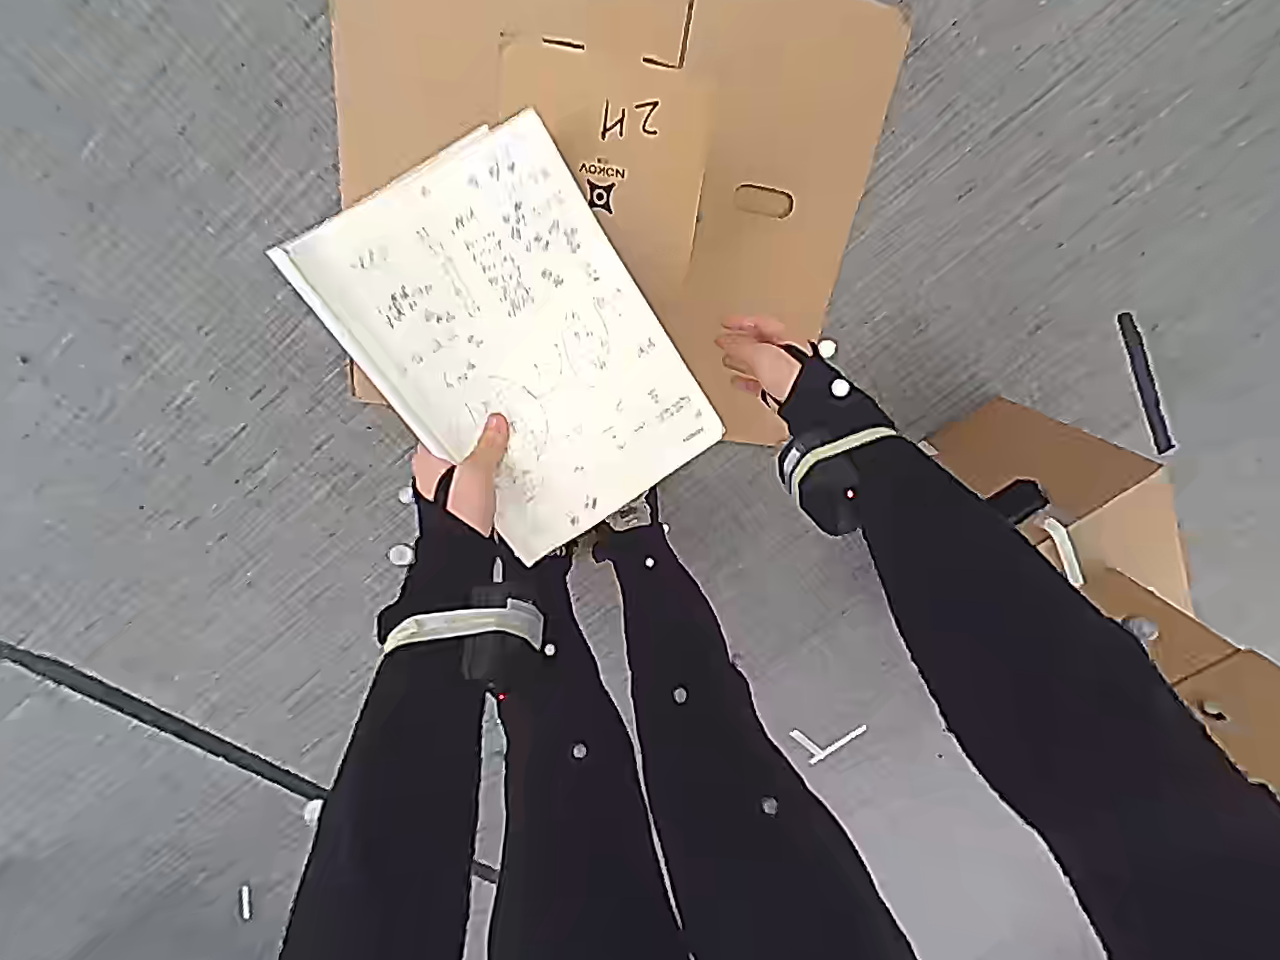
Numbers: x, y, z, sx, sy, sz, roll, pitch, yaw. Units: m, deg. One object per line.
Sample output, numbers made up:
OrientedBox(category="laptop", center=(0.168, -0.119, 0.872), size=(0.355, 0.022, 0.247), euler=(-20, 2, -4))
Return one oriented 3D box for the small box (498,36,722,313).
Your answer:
OrientedBox(category="small box", center=(-0.041, -0.267, 0.502), size=(0.168, 0.176, 0.179), euler=(2, 117, -13))
